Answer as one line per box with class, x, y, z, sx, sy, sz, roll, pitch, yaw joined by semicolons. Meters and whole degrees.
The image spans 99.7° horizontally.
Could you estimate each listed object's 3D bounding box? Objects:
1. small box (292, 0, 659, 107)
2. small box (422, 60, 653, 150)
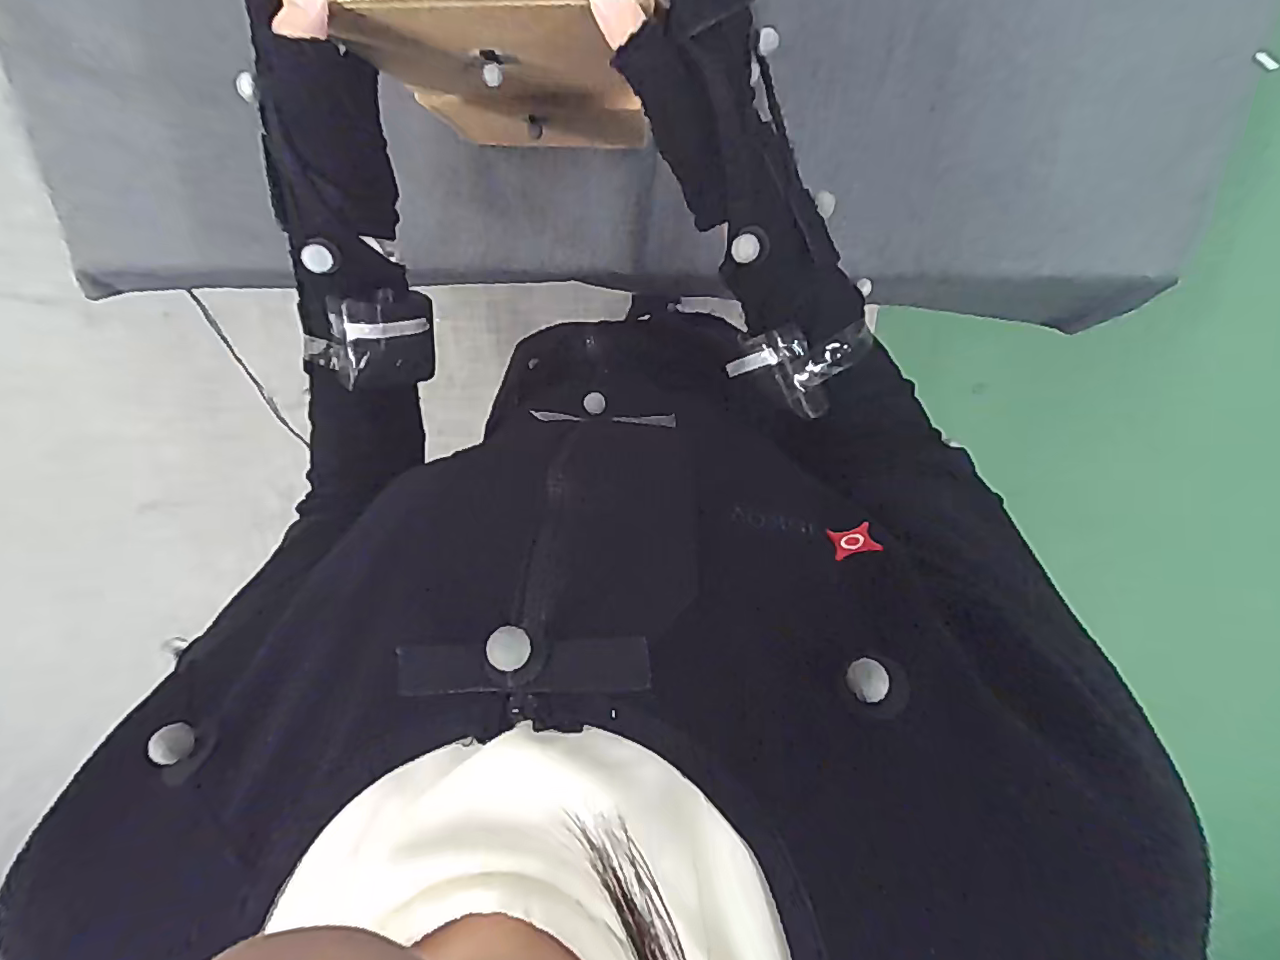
small box;-0.078;-0.324;0.300;0.179;0.176;0.168;0;113;2
small box;-0.076;-0.384;0.452;0.179;0.176;0.168;1;114;-1
